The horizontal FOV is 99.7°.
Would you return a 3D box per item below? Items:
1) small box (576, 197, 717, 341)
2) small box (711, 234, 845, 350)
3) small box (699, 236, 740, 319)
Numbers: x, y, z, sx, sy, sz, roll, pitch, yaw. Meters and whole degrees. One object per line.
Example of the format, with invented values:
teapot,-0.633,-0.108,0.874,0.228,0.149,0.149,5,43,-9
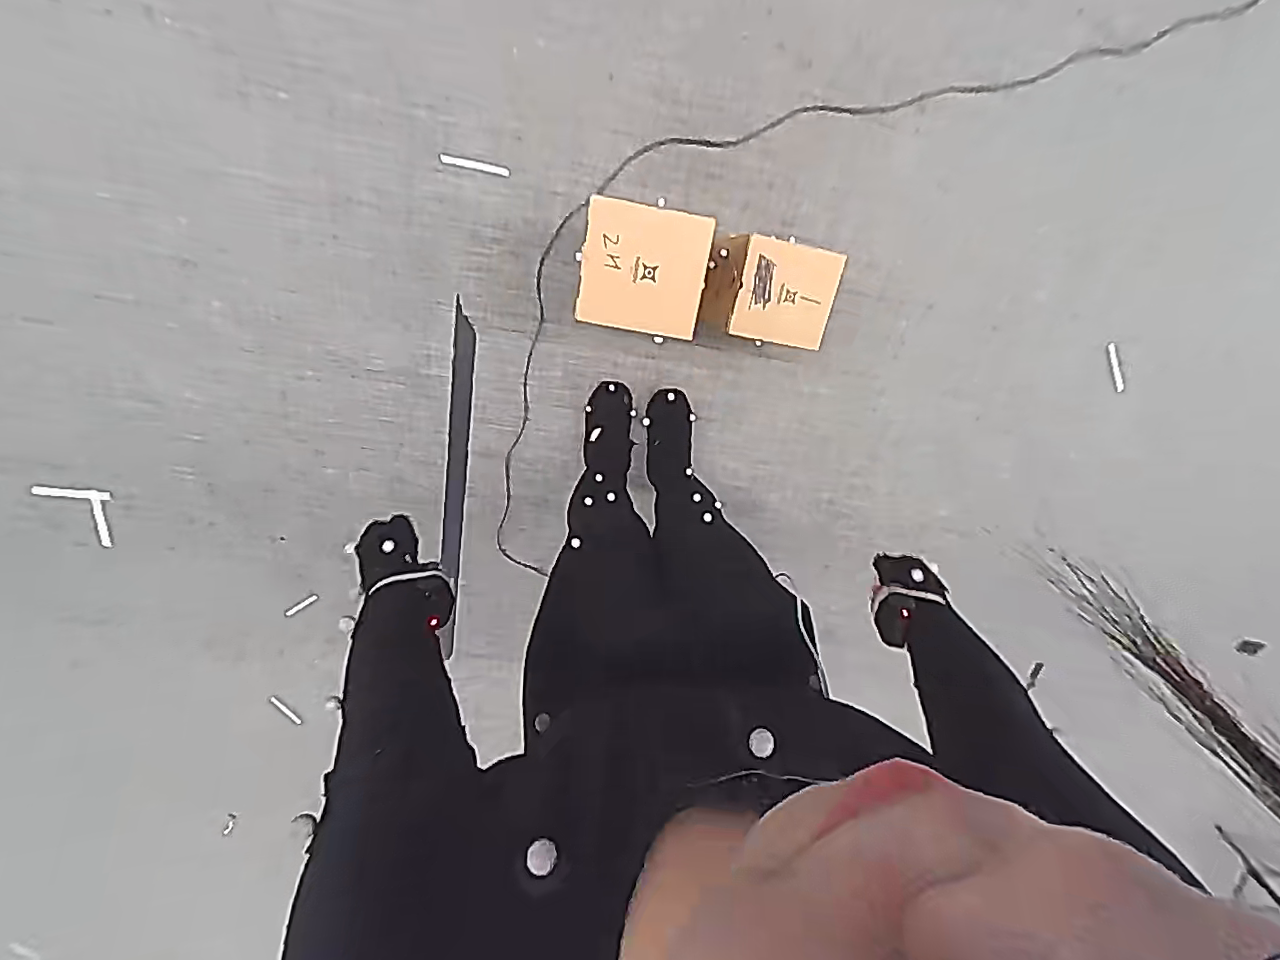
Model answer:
small box,0.003,-0.322,0.832,0.179,0.176,0.168,9,111,-6
small box,0.245,-0.352,1.015,0.179,0.176,0.168,9,112,-9
small box,0.234,-0.417,1.167,0.179,0.176,0.168,10,111,-9
